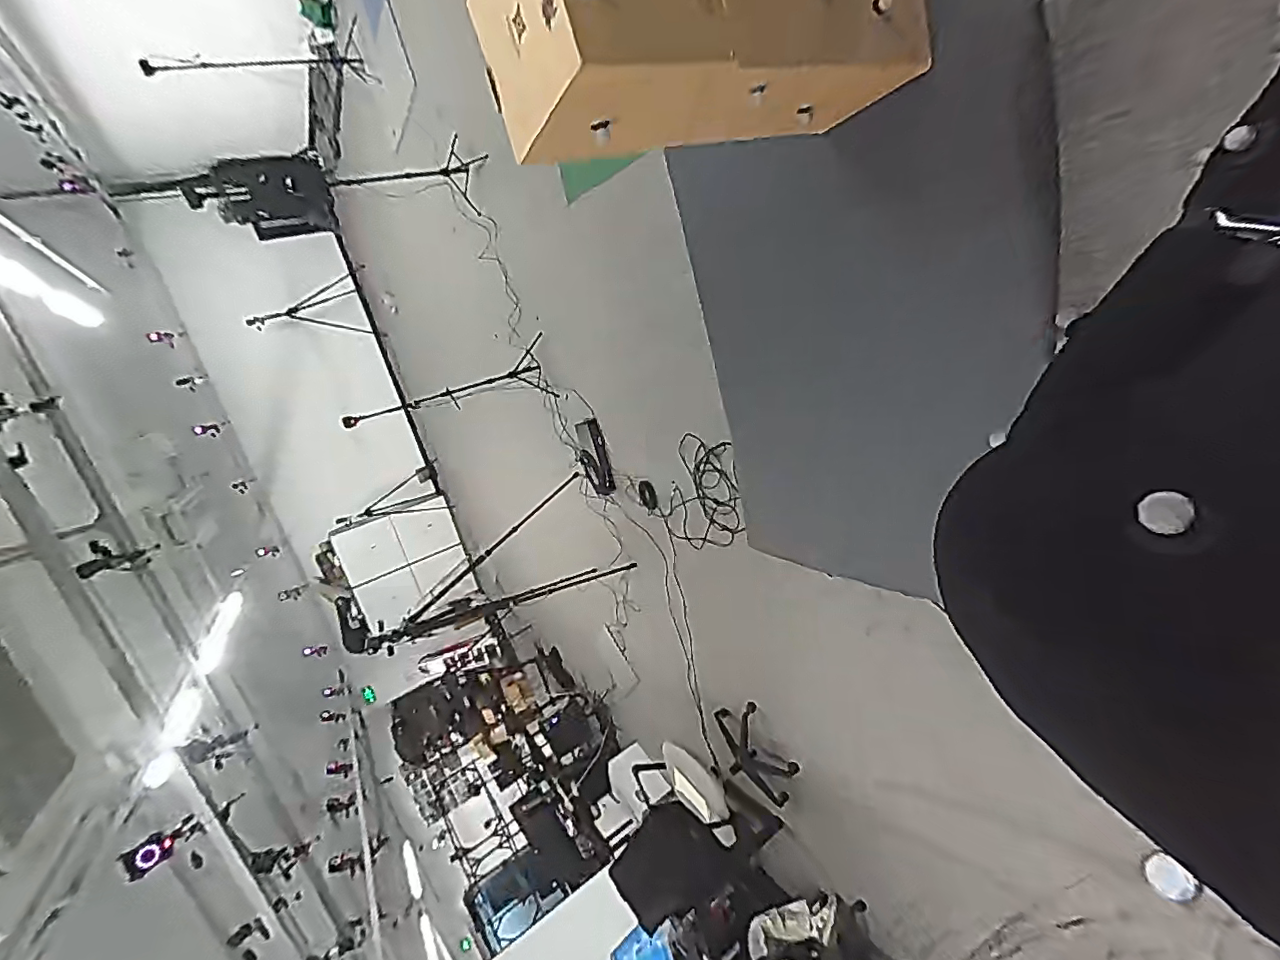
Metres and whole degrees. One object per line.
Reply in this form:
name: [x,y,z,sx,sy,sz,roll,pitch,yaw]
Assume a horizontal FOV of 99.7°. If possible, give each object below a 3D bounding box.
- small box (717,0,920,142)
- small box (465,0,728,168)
small box: [0.222,-0.552,0.670,0.179,0.176,0.168,10,119,59]
small box: [-0.045,-0.431,0.521,0.179,0.176,0.168,4,115,61]
